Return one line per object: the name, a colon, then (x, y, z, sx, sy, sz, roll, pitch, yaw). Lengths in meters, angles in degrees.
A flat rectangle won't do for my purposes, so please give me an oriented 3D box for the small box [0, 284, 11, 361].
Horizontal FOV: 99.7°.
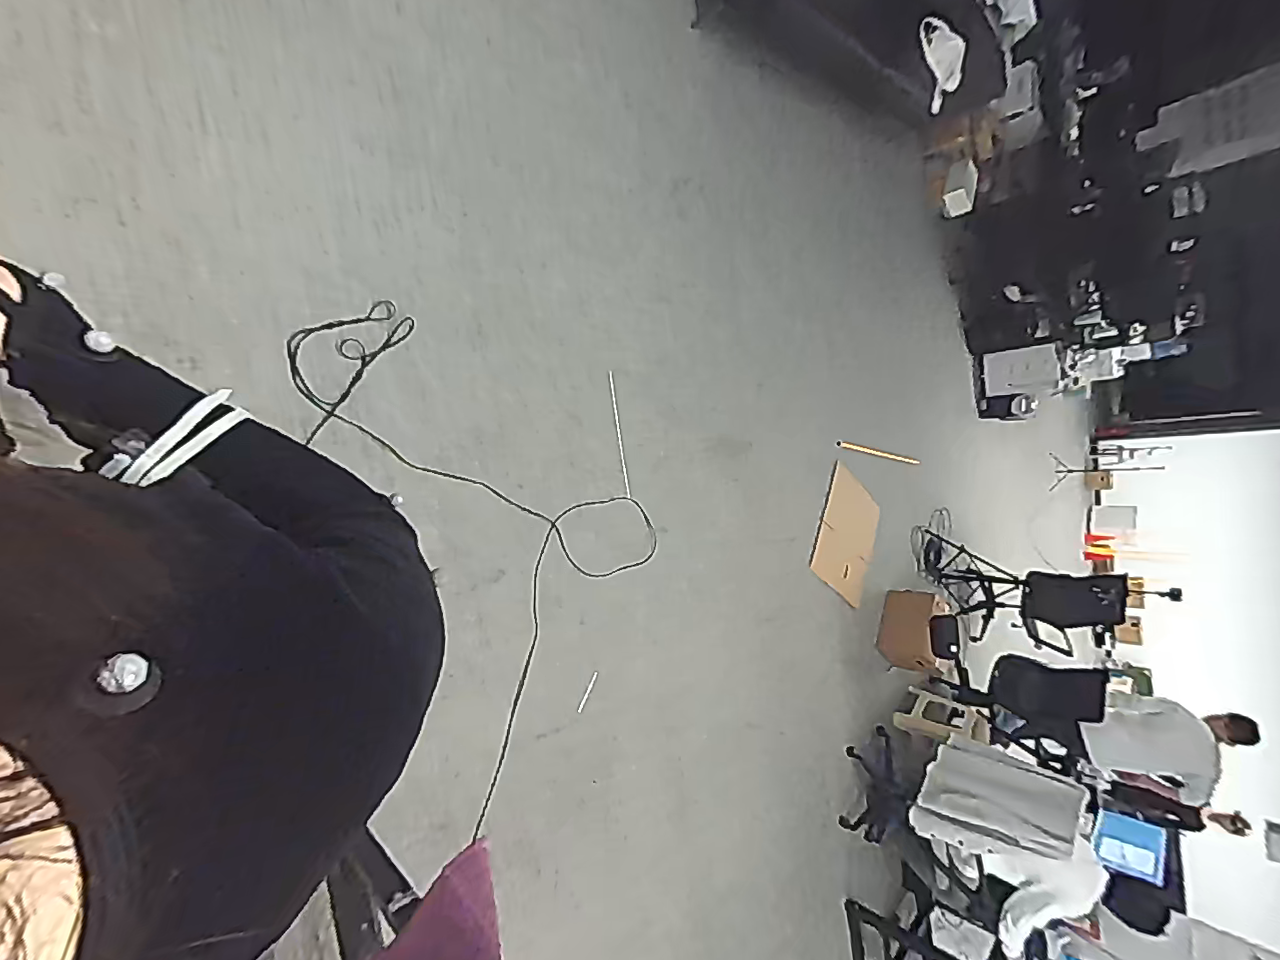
small box: (-0.559, -0.179, 0.350, 0.168, 0.176, 0.179, -13, 94, -42)
